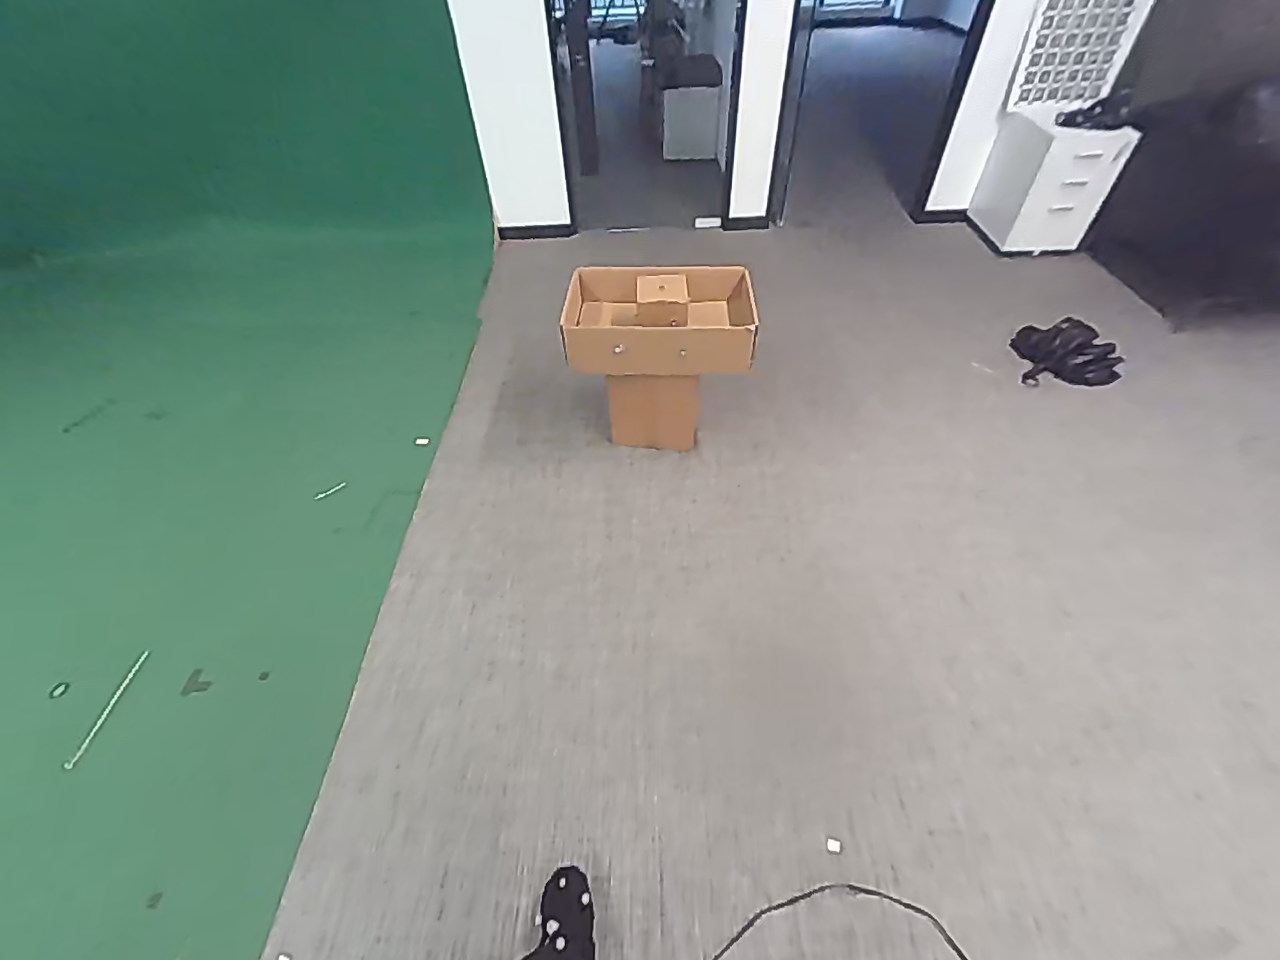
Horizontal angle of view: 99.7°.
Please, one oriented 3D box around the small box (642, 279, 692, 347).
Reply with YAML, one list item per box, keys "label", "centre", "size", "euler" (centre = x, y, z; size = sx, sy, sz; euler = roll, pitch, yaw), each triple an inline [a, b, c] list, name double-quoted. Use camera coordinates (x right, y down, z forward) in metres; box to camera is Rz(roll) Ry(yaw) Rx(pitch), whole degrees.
- label: "small box"
  centre: [0.090, -0.563, 1.831]
  size: [0.168, 0.176, 0.179]
  euler: [0, 45, 0]
